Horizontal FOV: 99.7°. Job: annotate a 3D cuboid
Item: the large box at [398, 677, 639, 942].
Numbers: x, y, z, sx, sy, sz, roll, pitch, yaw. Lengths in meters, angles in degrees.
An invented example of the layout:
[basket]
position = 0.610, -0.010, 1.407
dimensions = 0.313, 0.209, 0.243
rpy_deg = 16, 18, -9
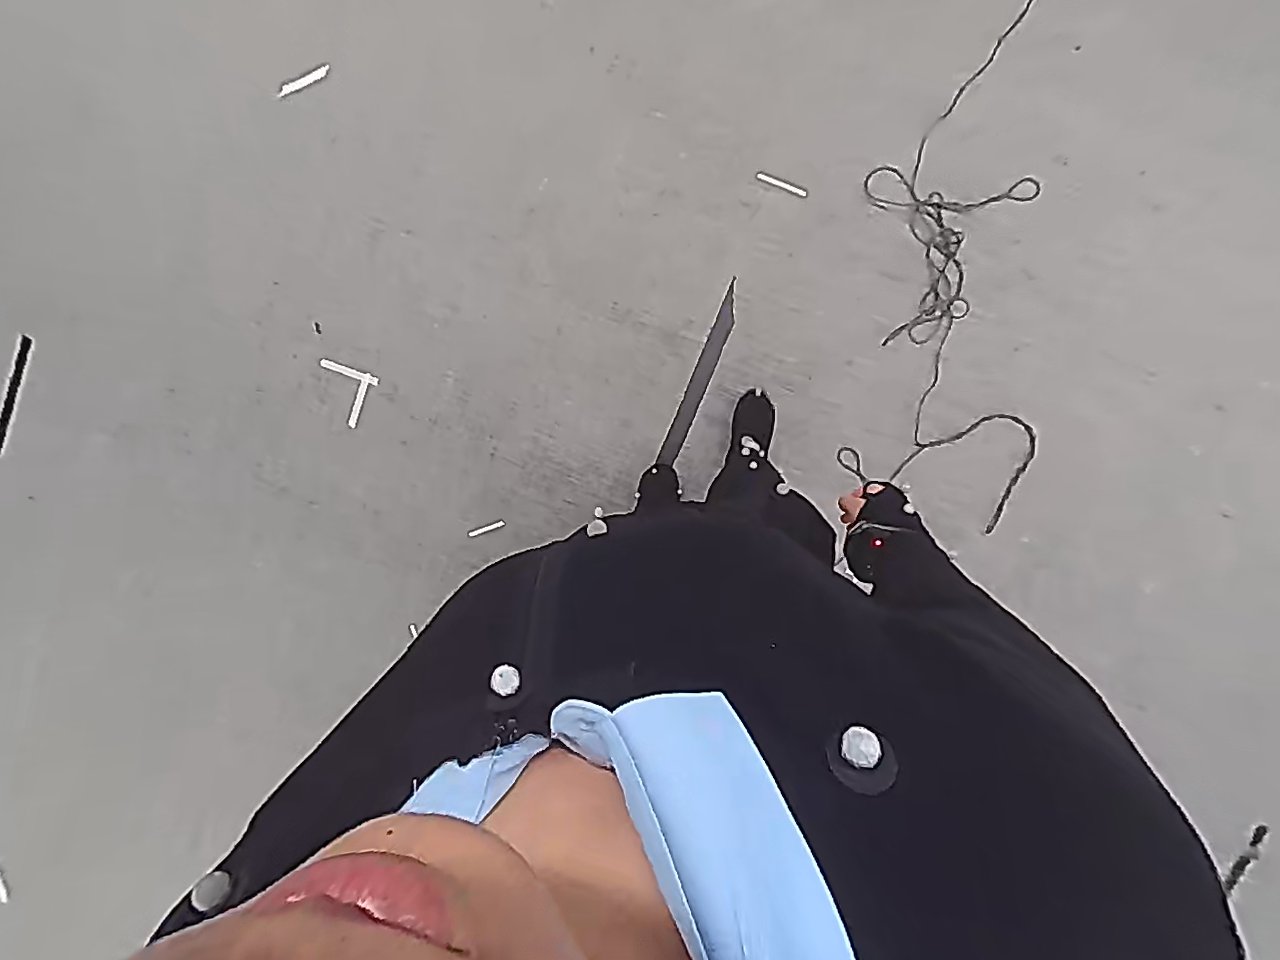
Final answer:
[large box]
position = -0.246, 0.709, 1.224
dimensions = 0.408, 0.320, 0.320
rpy_deg = 20, 93, 3
